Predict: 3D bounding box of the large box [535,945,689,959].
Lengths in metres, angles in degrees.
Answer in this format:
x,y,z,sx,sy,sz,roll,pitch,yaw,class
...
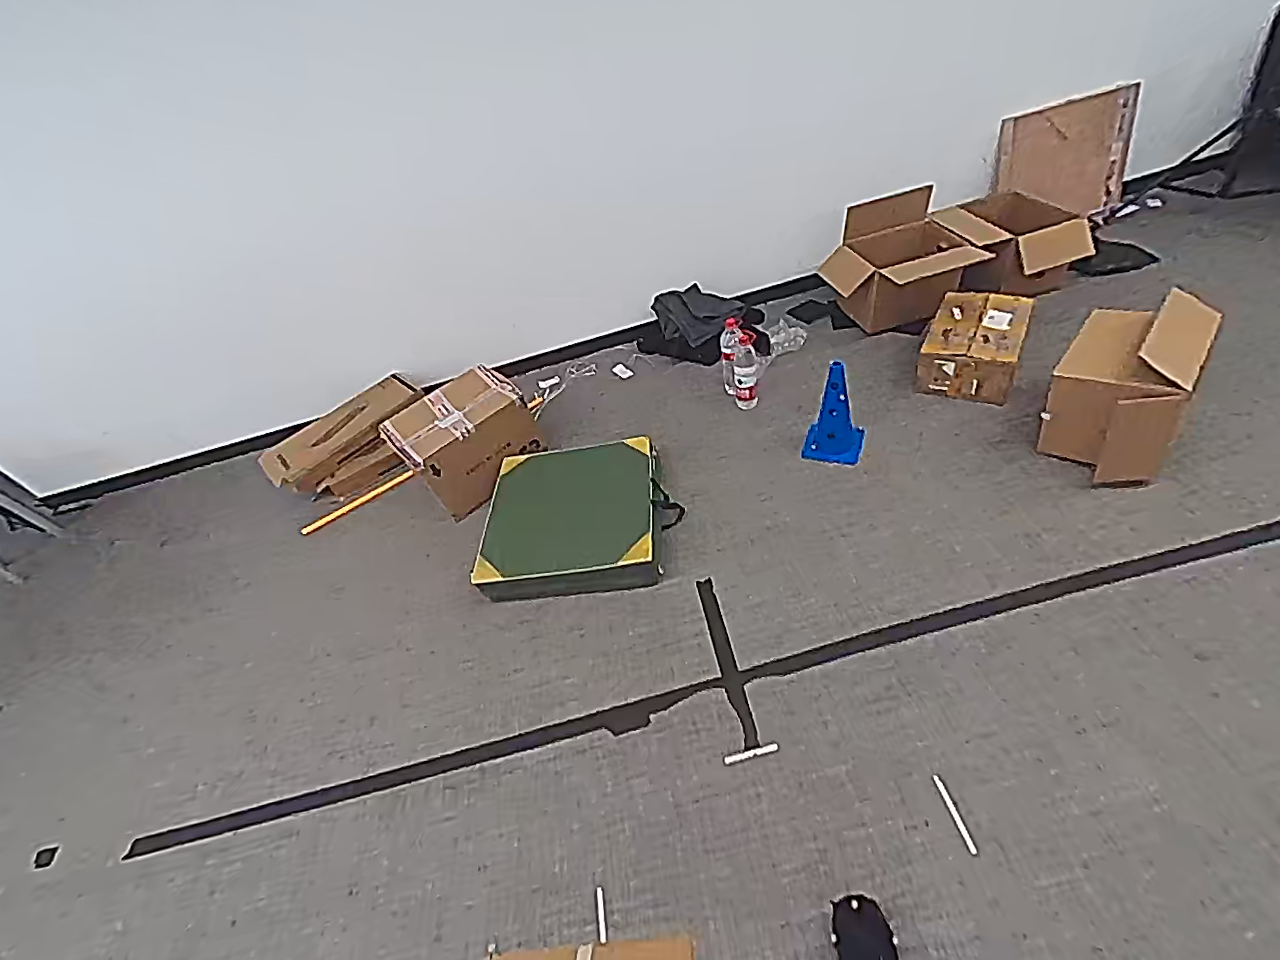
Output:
x,y,z,sx,sy,sz,roll,pitch,yaw,class
-0.066,0.845,0.597,0.320,0.408,0.320,-7,86,2,large box
